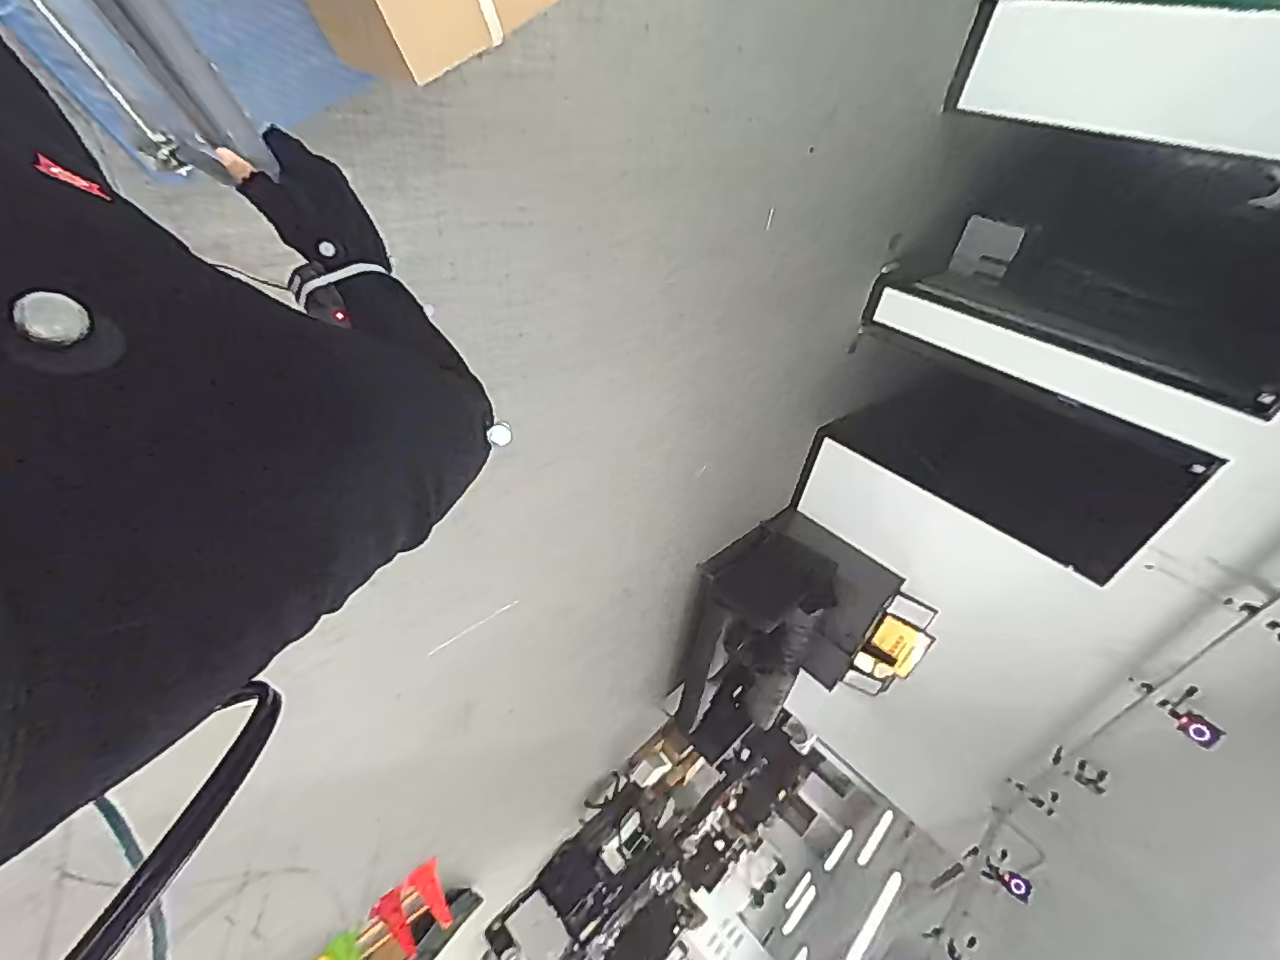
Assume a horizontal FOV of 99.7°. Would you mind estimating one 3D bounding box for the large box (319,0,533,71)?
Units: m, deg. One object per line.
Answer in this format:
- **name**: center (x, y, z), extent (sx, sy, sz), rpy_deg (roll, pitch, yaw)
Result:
- **large box**: center (-0.378, -0.910, 0.785), extent (0.320, 0.320, 0.408), rpy_deg (-44, 147, -14)
